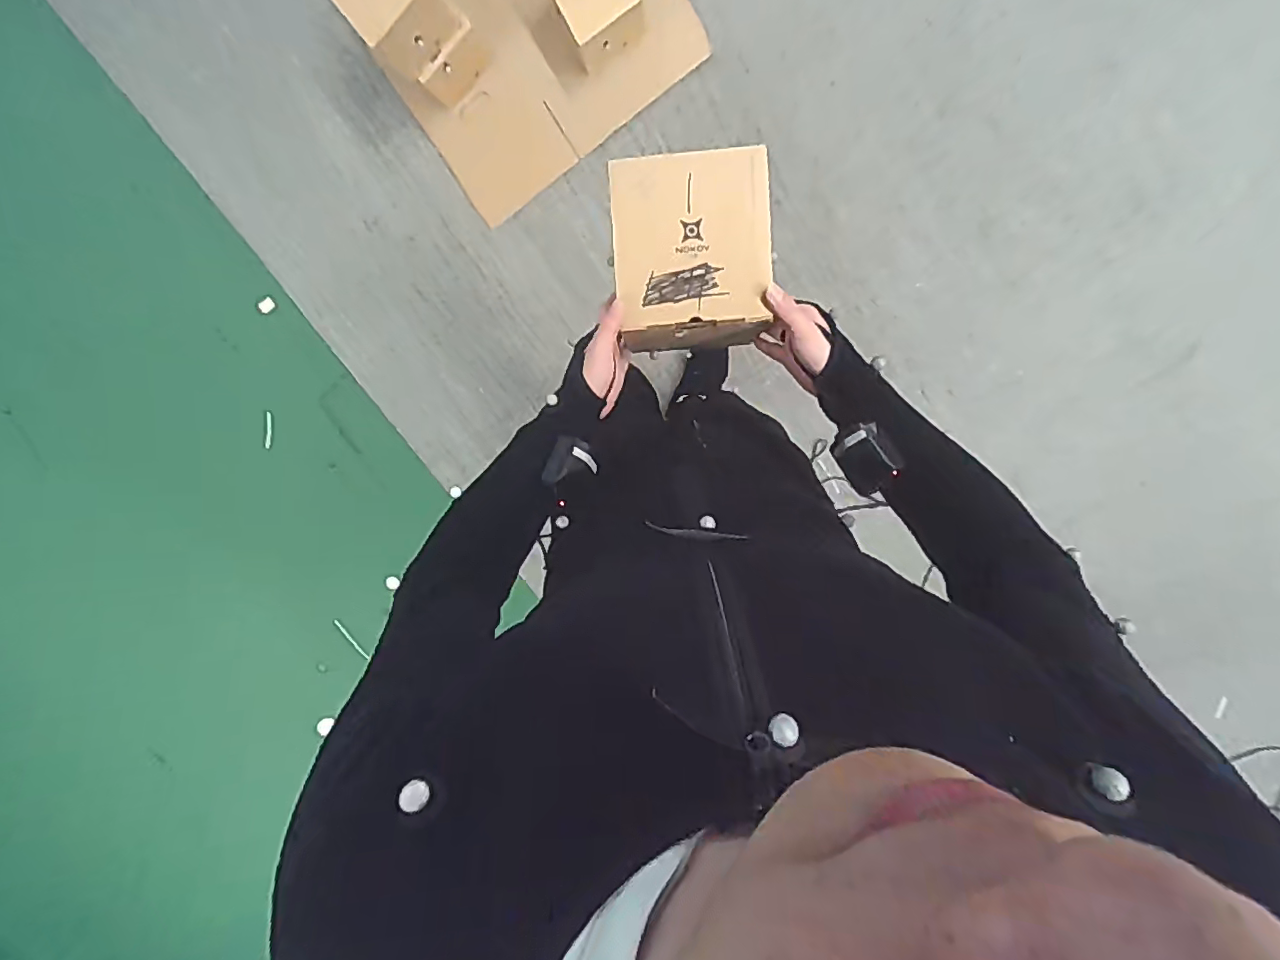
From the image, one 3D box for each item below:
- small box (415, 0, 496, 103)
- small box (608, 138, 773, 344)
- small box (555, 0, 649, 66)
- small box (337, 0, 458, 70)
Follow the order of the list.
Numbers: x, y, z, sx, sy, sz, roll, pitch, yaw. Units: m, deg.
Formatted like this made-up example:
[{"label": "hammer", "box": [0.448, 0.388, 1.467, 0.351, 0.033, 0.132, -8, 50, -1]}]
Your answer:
[{"label": "small box", "box": [-0.464, -1.018, 1.234, 0.168, 0.176, 0.179, -38, 101, 14]}, {"label": "small box", "box": [0.059, -0.259, 0.632, 0.168, 0.176, 0.179, -3, 94, 4]}, {"label": "small box", "box": [-0.092, -1.064, 1.194, 0.168, 0.176, 0.179, -29, 103, 12]}, {"label": "small box", "box": [-0.498, -0.969, 1.078, 0.168, 0.176, 0.179, -38, 101, 13]}]
